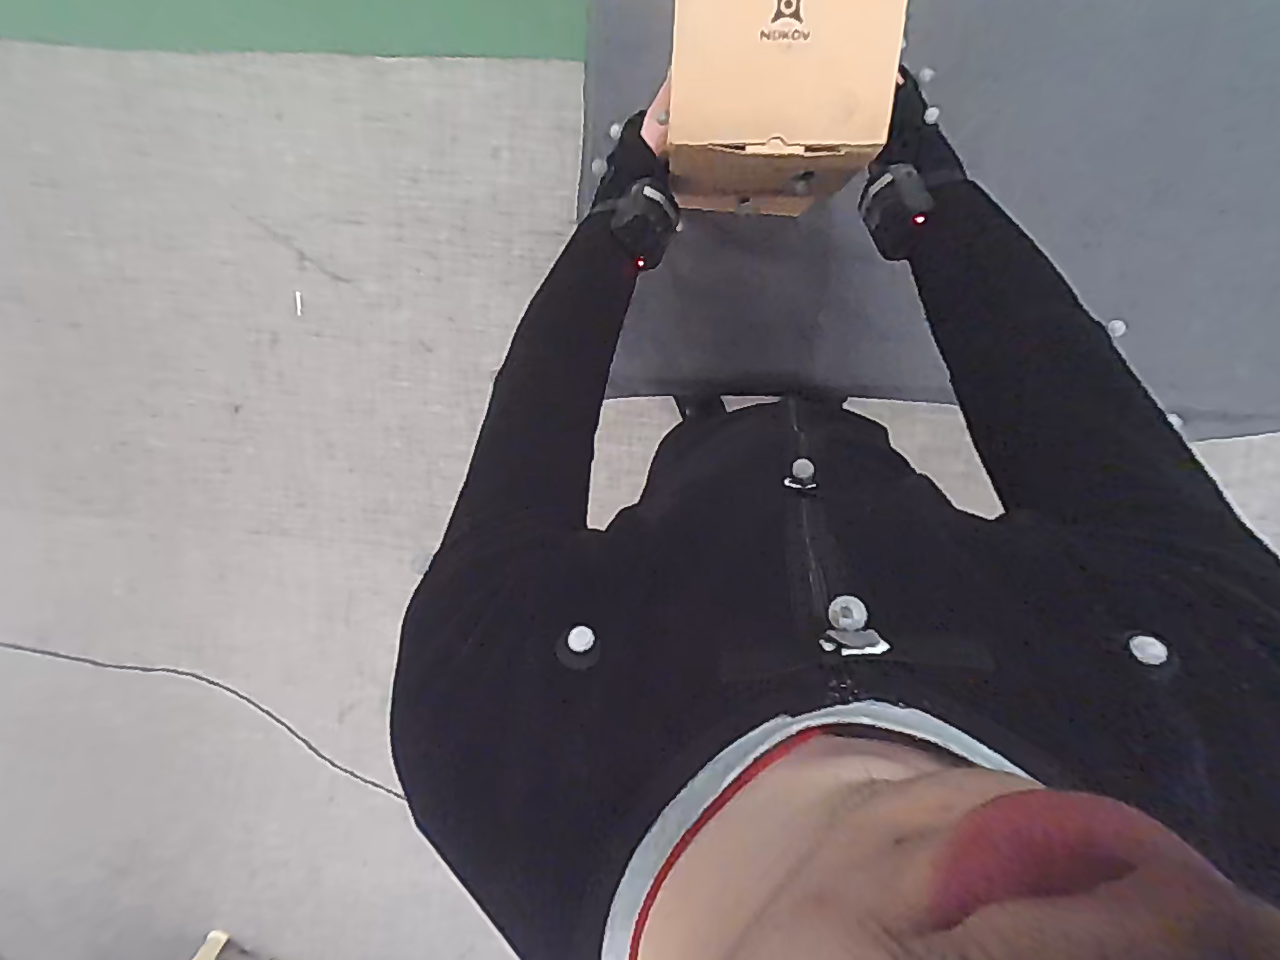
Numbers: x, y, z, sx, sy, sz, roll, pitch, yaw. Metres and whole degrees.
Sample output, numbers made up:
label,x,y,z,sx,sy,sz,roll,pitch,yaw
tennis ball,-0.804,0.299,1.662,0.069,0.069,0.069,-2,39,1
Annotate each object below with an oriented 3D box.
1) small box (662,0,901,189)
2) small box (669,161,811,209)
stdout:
label,x,y,z,sx,sy,sz,roll,pitch,yaw
small box,0.109,-0.361,0.459,0.168,0.176,0.179,3,105,4
small box,0.126,-0.418,0.611,0.168,0.176,0.179,5,107,4
